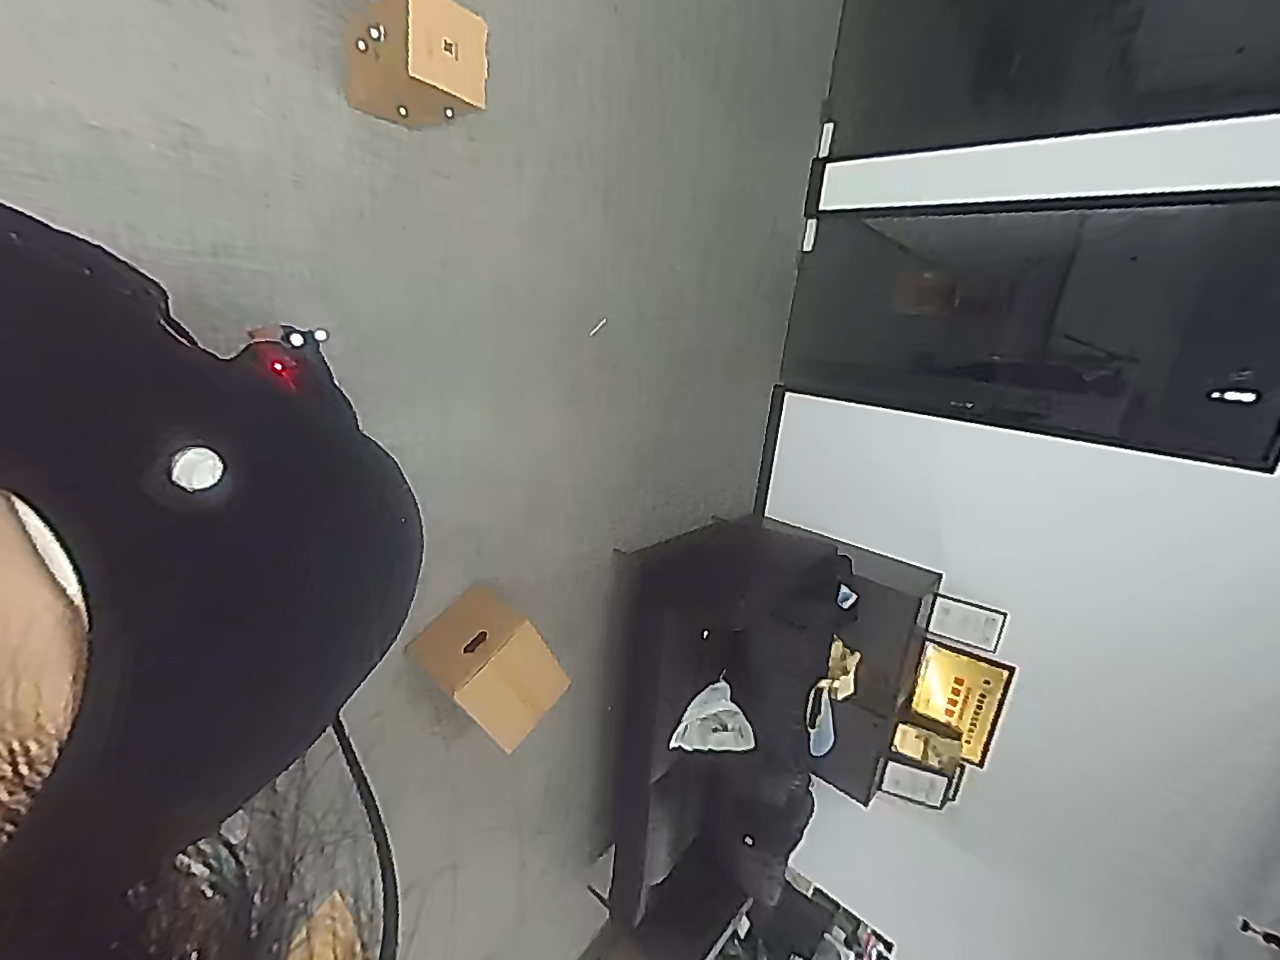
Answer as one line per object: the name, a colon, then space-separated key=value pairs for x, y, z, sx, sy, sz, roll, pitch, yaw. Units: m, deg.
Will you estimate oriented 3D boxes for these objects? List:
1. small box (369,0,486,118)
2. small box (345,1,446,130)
small box: x=-0.452 y=-0.898 z=1.150 sx=0.179 sy=0.176 sz=0.168 roll=-10 pitch=112 yaw=-47
small box: x=-0.567 y=-0.947 z=1.256 sx=0.168 sy=0.176 sz=0.179 roll=-11 pitch=113 yaw=-48
